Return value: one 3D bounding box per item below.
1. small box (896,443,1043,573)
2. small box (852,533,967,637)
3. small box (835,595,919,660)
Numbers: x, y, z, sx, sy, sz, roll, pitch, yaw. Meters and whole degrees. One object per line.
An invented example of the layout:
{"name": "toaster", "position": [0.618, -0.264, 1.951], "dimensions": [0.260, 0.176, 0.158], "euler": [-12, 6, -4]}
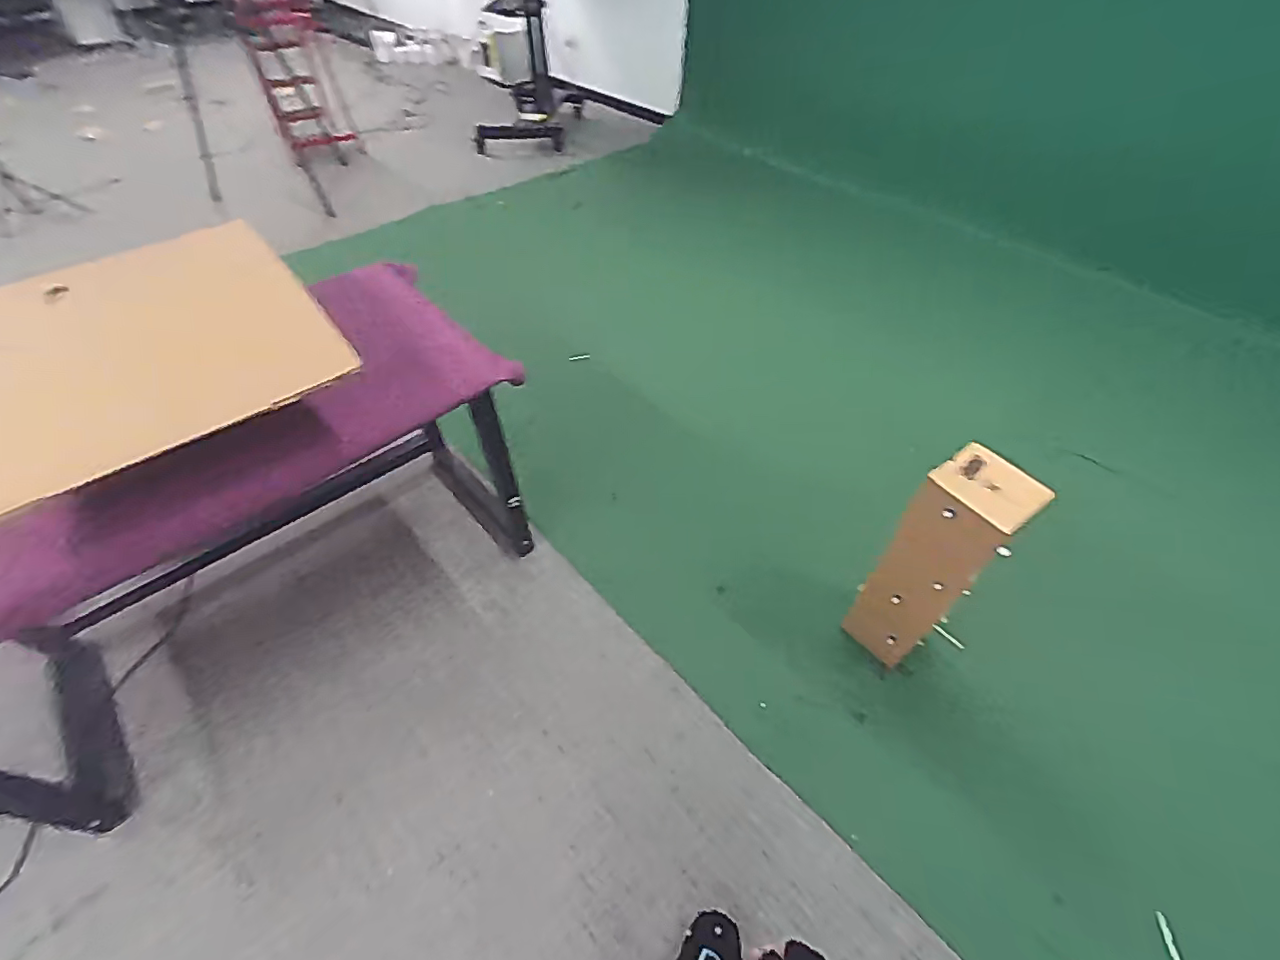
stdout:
{"name": "small box", "position": [0.678, 0.060, 1.135], "dimensions": [0.168, 0.176, 0.179], "euler": [-31, 56, -24]}
{"name": "small box", "position": [0.679, 0.277, 1.382], "dimensions": [0.168, 0.176, 0.179], "euler": [-33, 58, -25]}
{"name": "small box", "position": [0.681, 0.377, 1.510], "dimensions": [0.168, 0.176, 0.179], "euler": [-33, 58, -26]}
